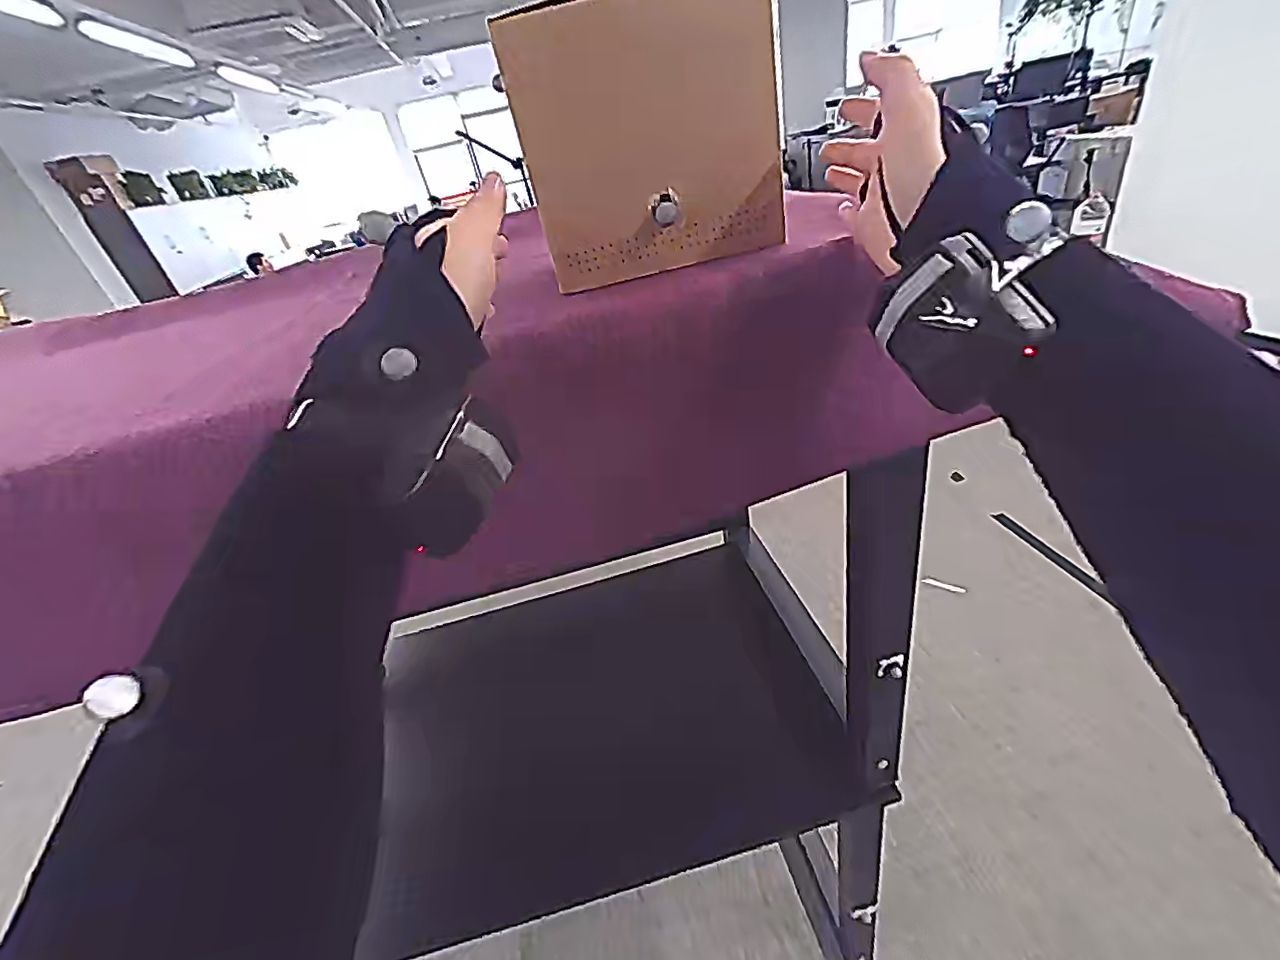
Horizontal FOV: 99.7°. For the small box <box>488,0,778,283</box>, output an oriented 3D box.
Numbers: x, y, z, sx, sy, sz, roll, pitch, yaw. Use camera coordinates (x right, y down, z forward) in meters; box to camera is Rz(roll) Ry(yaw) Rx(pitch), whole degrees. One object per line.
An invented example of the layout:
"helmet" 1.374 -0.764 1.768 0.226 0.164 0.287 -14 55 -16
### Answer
"small box" 0.002 -0.271 0.426 0.179 0.176 0.168 -13 31 1
